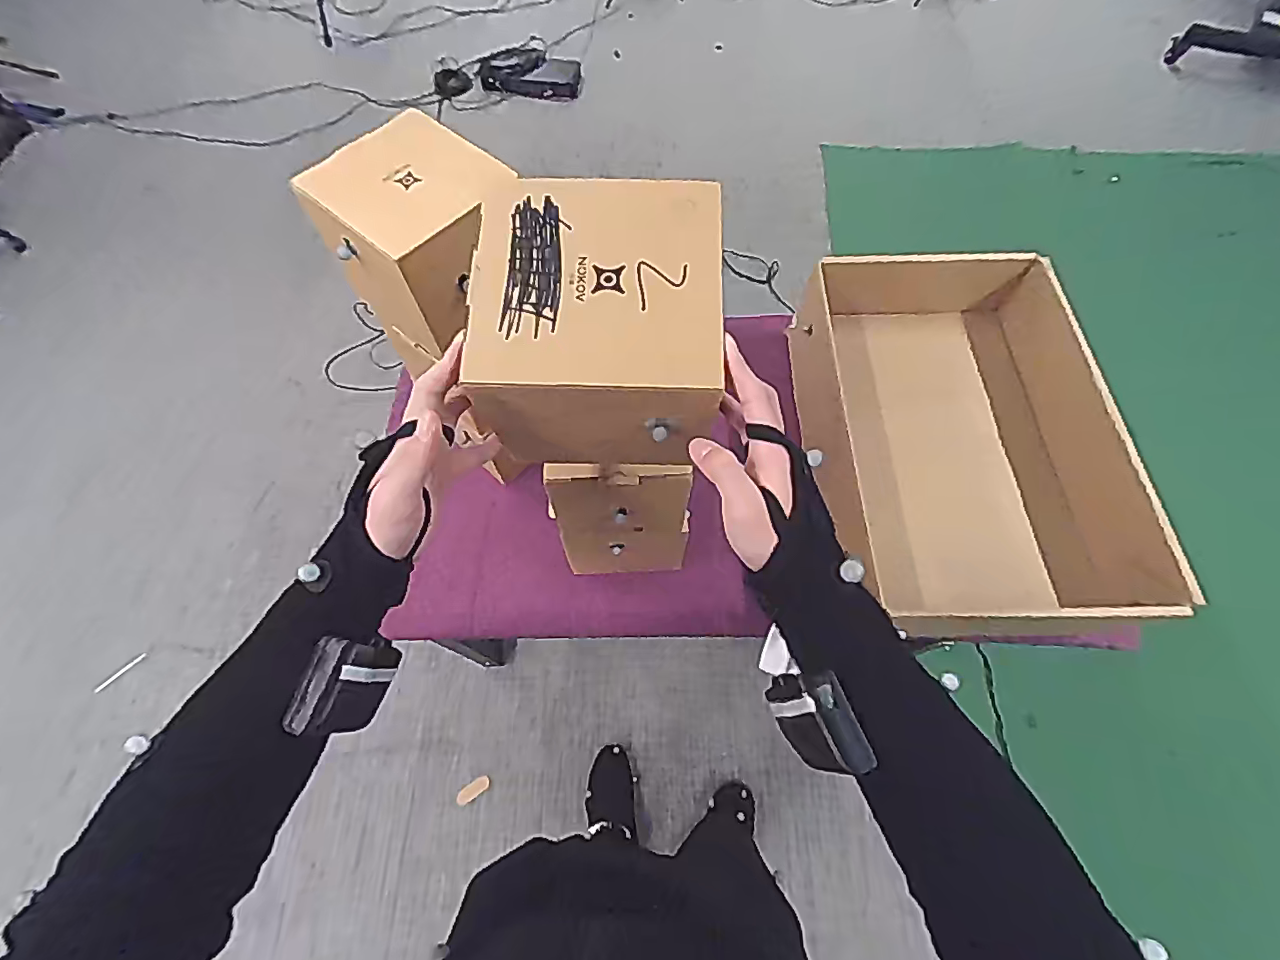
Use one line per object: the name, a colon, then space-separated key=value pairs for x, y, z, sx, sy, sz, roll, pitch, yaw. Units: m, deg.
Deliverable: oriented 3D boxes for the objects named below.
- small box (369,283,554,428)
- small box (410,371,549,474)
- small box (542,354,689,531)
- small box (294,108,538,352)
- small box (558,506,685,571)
small box: x=-0.238 y=-0.207 z=0.778 sx=0.168 sy=0.176 sz=0.179 roll=40 pitch=70 yaw=15
small box: x=-0.246 y=-0.132 z=0.922 sx=0.179 sy=0.176 sz=0.168 roll=39 pitch=69 yaw=17
small box: x=-0.027 y=-0.040 z=0.696 sx=0.168 sy=0.176 sz=0.179 roll=-1 pitch=64 yaw=-1
small box: x=-0.242 y=-0.278 z=0.632 sx=0.179 sy=0.176 sz=0.168 roll=38 pitch=70 yaw=15
small box: x=-0.027 y=0.038 z=0.840 sx=0.179 sy=0.176 sz=0.168 roll=-2 pitch=63 yaw=-2
